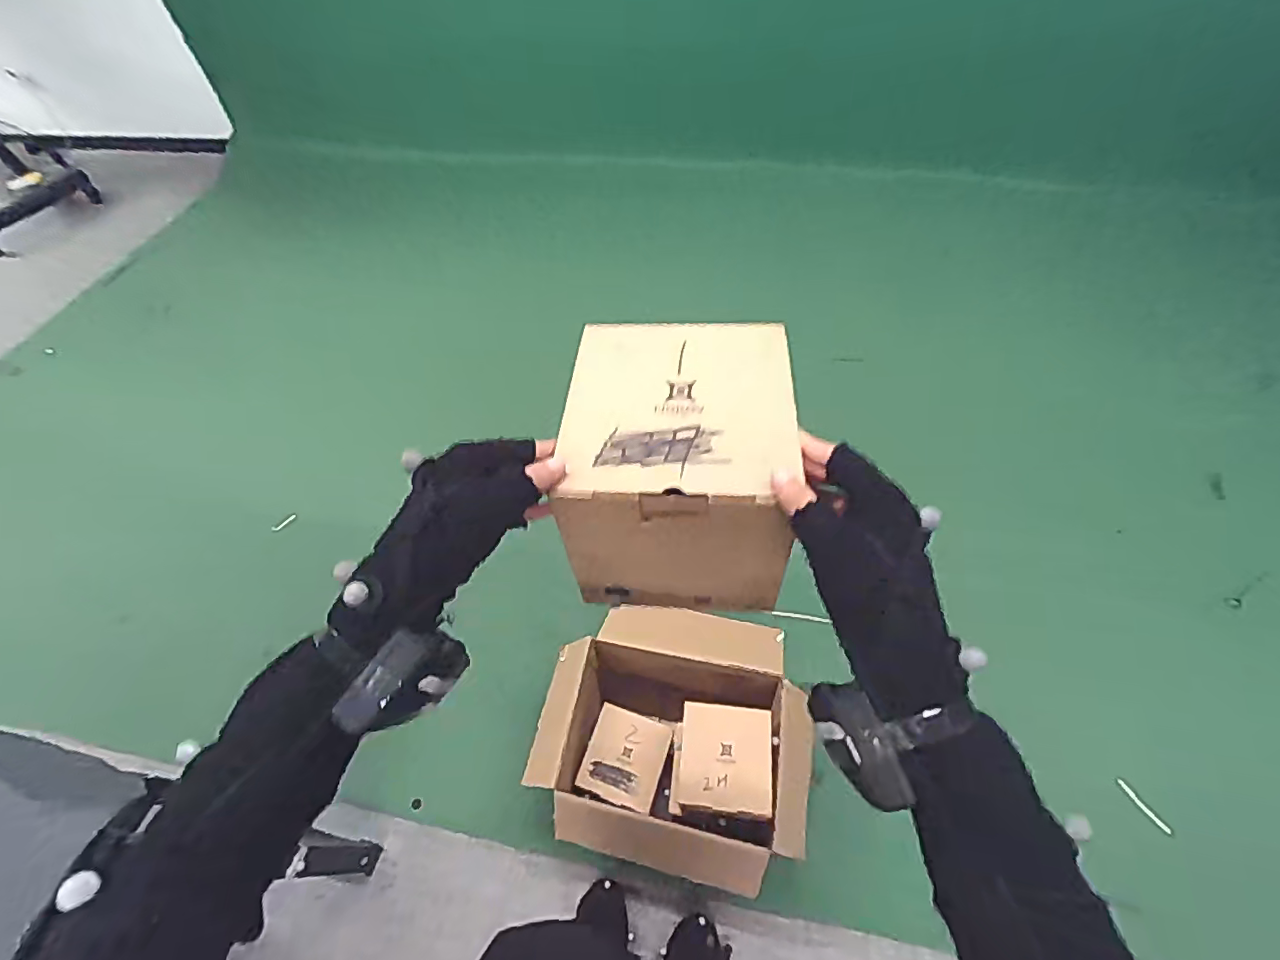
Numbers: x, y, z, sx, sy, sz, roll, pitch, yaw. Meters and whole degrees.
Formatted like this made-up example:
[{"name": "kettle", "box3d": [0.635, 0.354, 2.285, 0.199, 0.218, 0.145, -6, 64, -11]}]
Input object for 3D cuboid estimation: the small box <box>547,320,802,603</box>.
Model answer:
[{"name": "small box", "box3d": [0.033, -0.011, 0.450, 0.168, 0.176, 0.179, 2, 53, 6]}]
